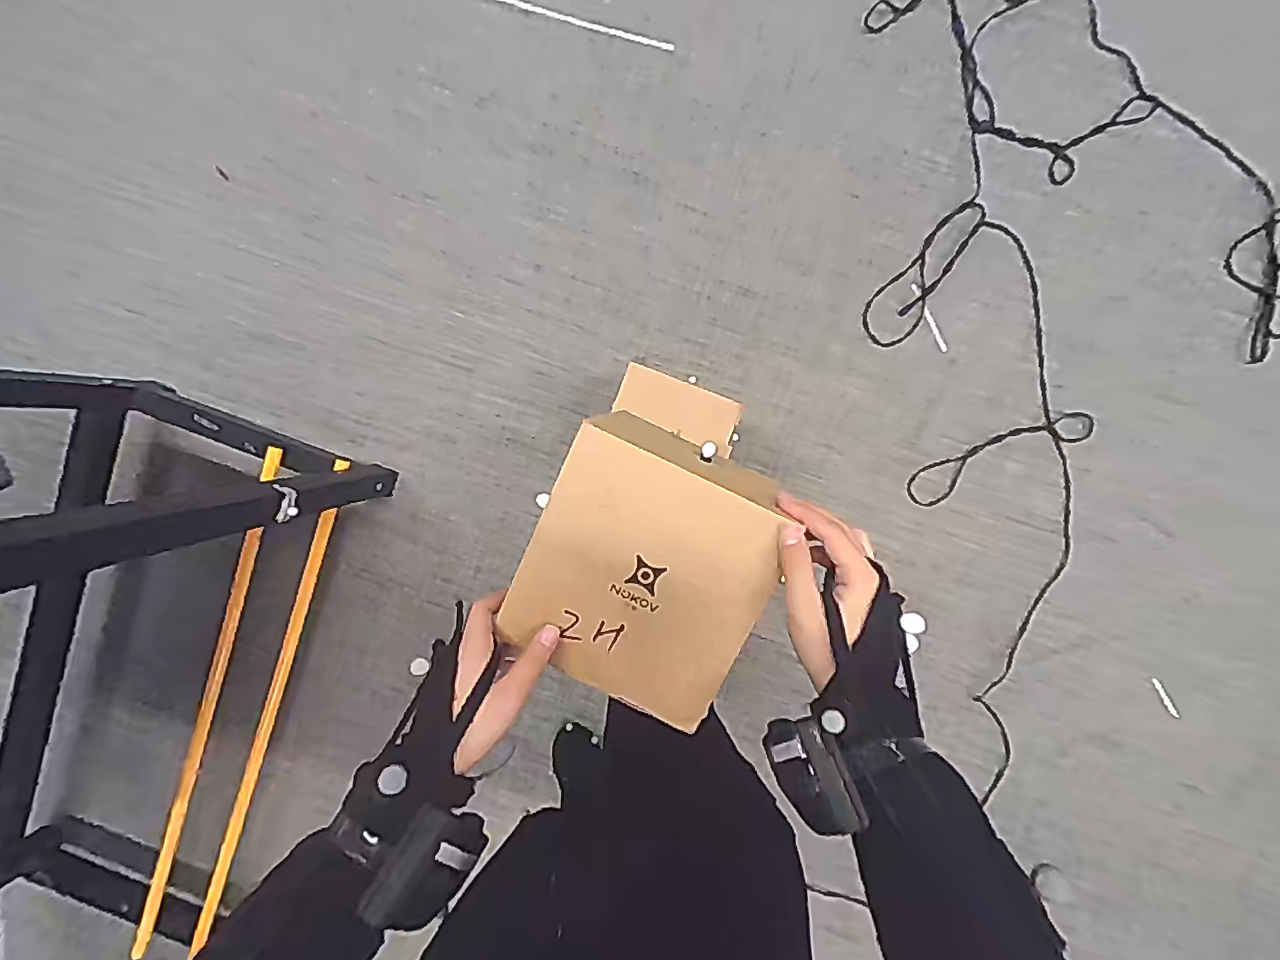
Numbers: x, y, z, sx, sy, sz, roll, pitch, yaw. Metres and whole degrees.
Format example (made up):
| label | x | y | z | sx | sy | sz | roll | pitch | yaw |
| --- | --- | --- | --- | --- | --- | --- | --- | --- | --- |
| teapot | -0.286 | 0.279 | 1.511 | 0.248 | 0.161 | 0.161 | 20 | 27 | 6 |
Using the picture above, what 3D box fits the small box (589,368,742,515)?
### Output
| label | x | y | z | sx | sy | sz | roll | pitch | yaw |
| --- | --- | --- | --- | --- | --- | --- | --- | --- | --- |
| small box | 0.041 | -0.062 | 0.842 | 0.179 | 0.176 | 0.168 | 21 | 96 | 3 |
